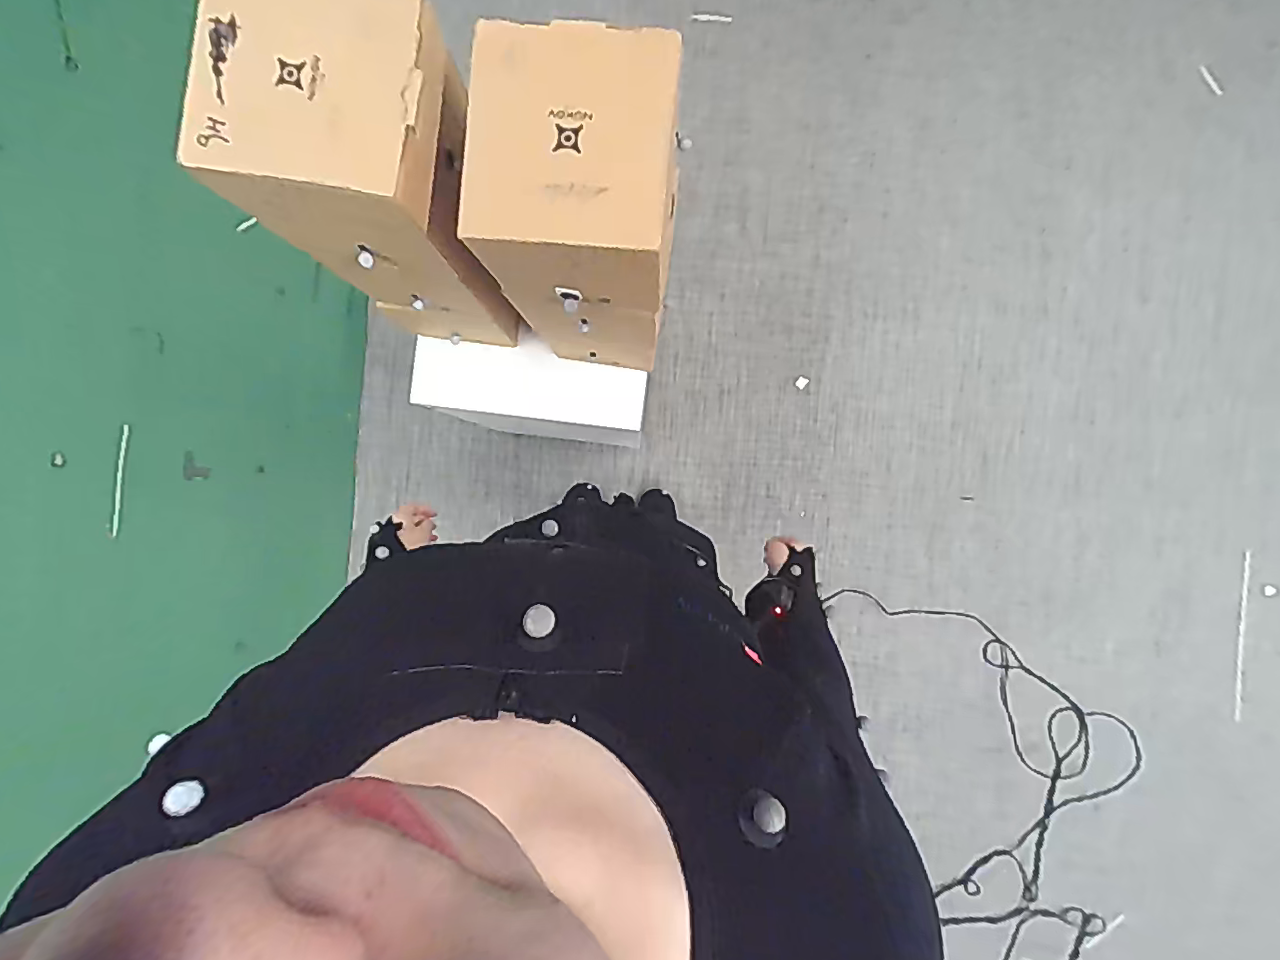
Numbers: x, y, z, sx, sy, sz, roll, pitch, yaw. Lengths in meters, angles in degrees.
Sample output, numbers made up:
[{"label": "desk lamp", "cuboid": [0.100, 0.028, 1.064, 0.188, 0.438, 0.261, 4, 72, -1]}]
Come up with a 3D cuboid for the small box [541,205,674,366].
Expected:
[{"label": "small box", "cuboid": [-0.045, -0.288, 0.835, 0.168, 0.176, 0.179, 9, 91, 1]}]

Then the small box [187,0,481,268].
[{"label": "small box", "cuboid": [-0.262, -0.316, 0.506, 0.179, 0.176, 0.168, 8, 90, -2]}]

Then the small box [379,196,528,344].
[{"label": "small box", "cuboid": [-0.275, -0.324, 0.834, 0.168, 0.176, 0.179, 7, 91, -1]}]

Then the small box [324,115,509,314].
[{"label": "small box", "cuboid": [-0.268, -0.326, 0.670, 0.168, 0.176, 0.179, 8, 90, -1]}]
